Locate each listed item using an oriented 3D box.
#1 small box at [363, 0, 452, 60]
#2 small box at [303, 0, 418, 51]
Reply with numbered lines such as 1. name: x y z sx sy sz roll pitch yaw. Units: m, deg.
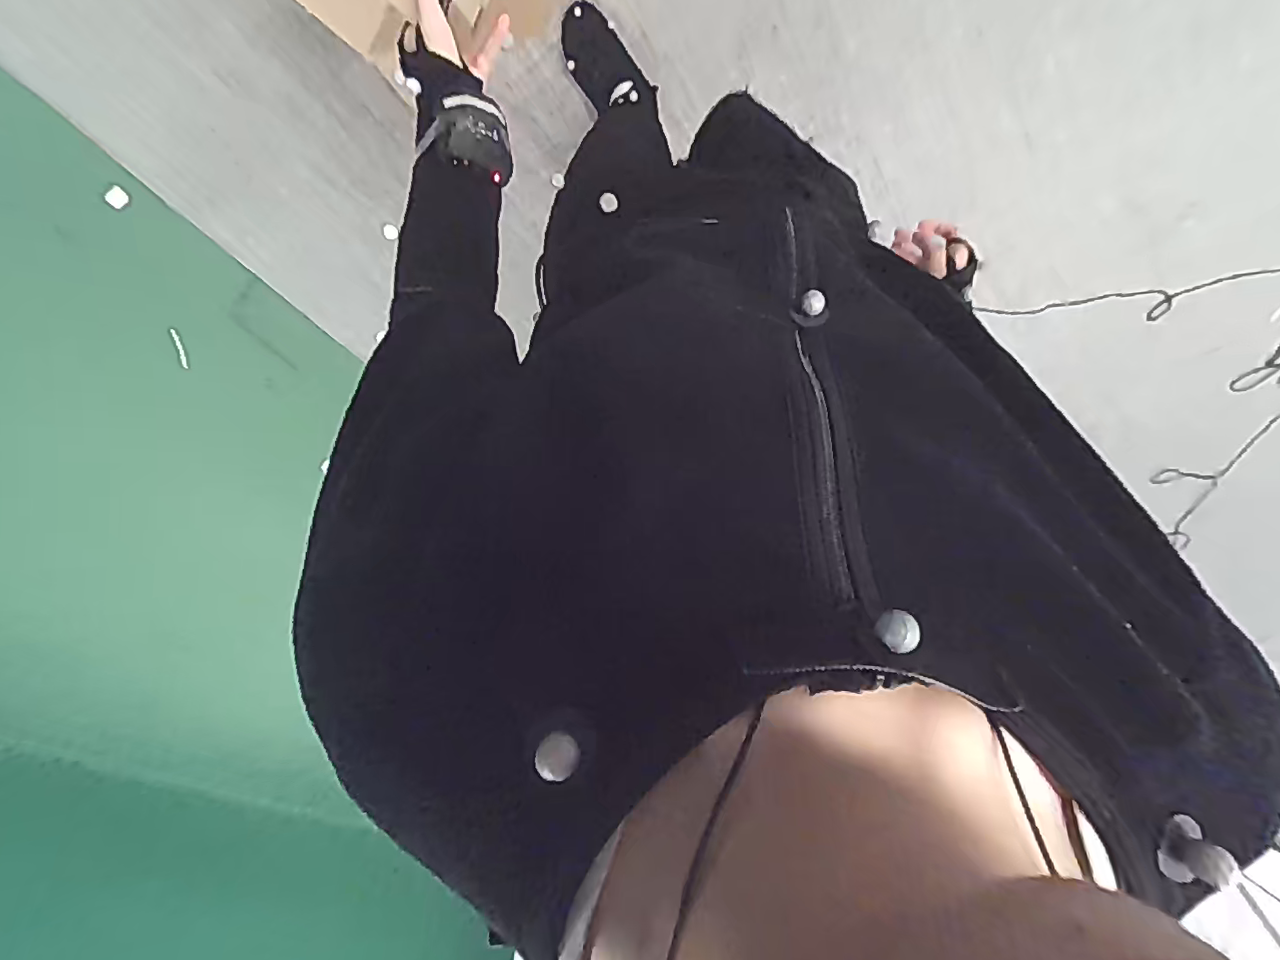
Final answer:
1. small box: -0.439 -0.855 0.904 0.168 0.176 0.179 -26 129 16
2. small box: -0.416 -0.762 0.769 0.179 0.176 0.168 32 122 -30
